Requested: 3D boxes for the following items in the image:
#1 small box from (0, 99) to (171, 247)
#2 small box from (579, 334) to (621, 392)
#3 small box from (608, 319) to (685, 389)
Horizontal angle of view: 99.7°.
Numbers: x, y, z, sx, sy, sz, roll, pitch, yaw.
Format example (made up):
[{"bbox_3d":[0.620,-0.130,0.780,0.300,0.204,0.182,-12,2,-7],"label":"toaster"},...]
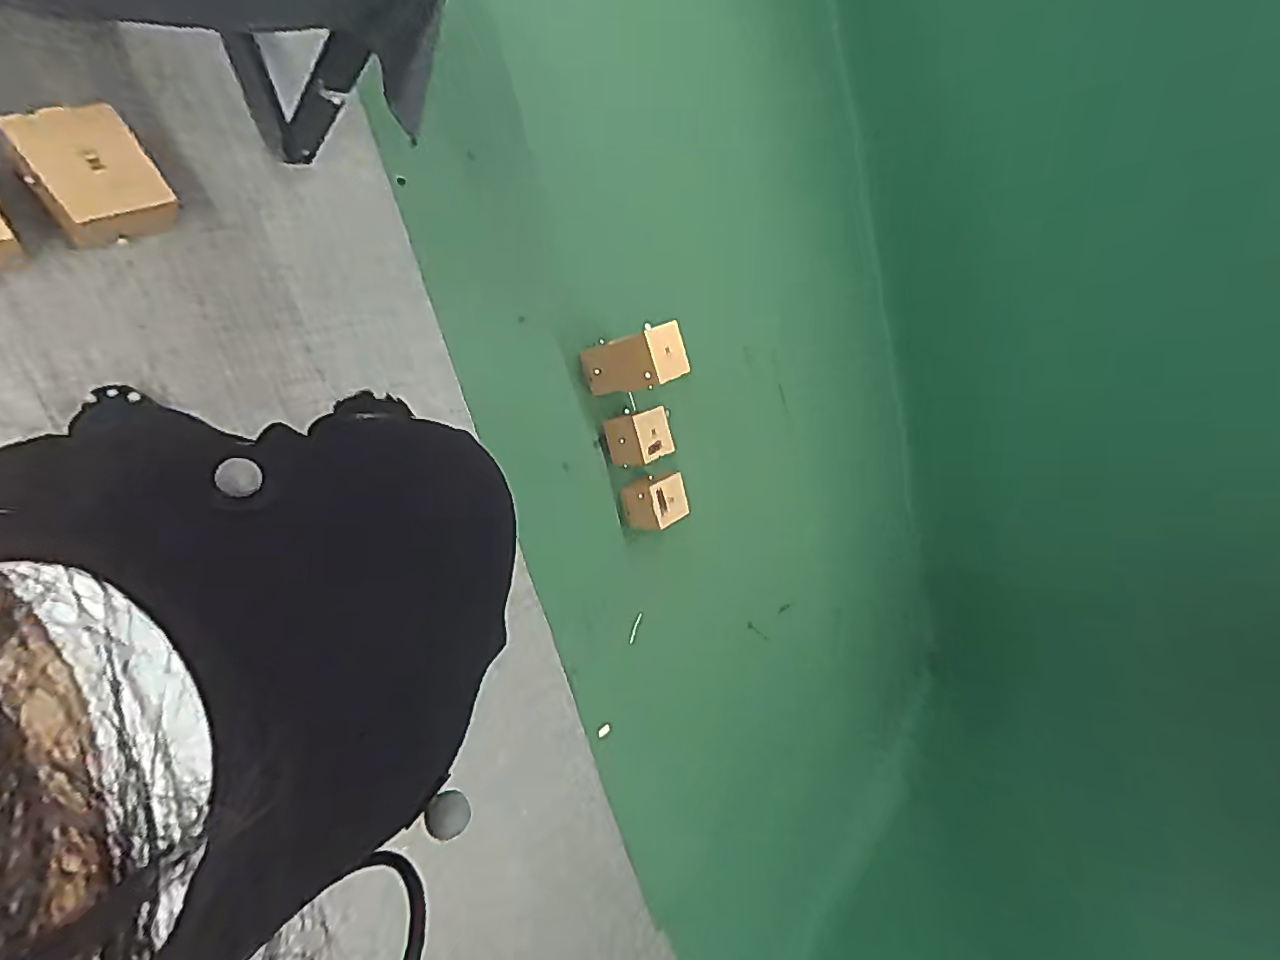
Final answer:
[{"bbox_3d":[-1.034,-0.569,1.012,0.168,0.176,0.179,-42,117,-36],"label":"small box"},{"bbox_3d":[-0.096,-0.419,1.918,0.179,0.176,0.168,-29,109,-39],"label":"small box"},{"bbox_3d":[0.019,-0.418,1.802,0.168,0.176,0.179,-32,111,-40],"label":"small box"}]
